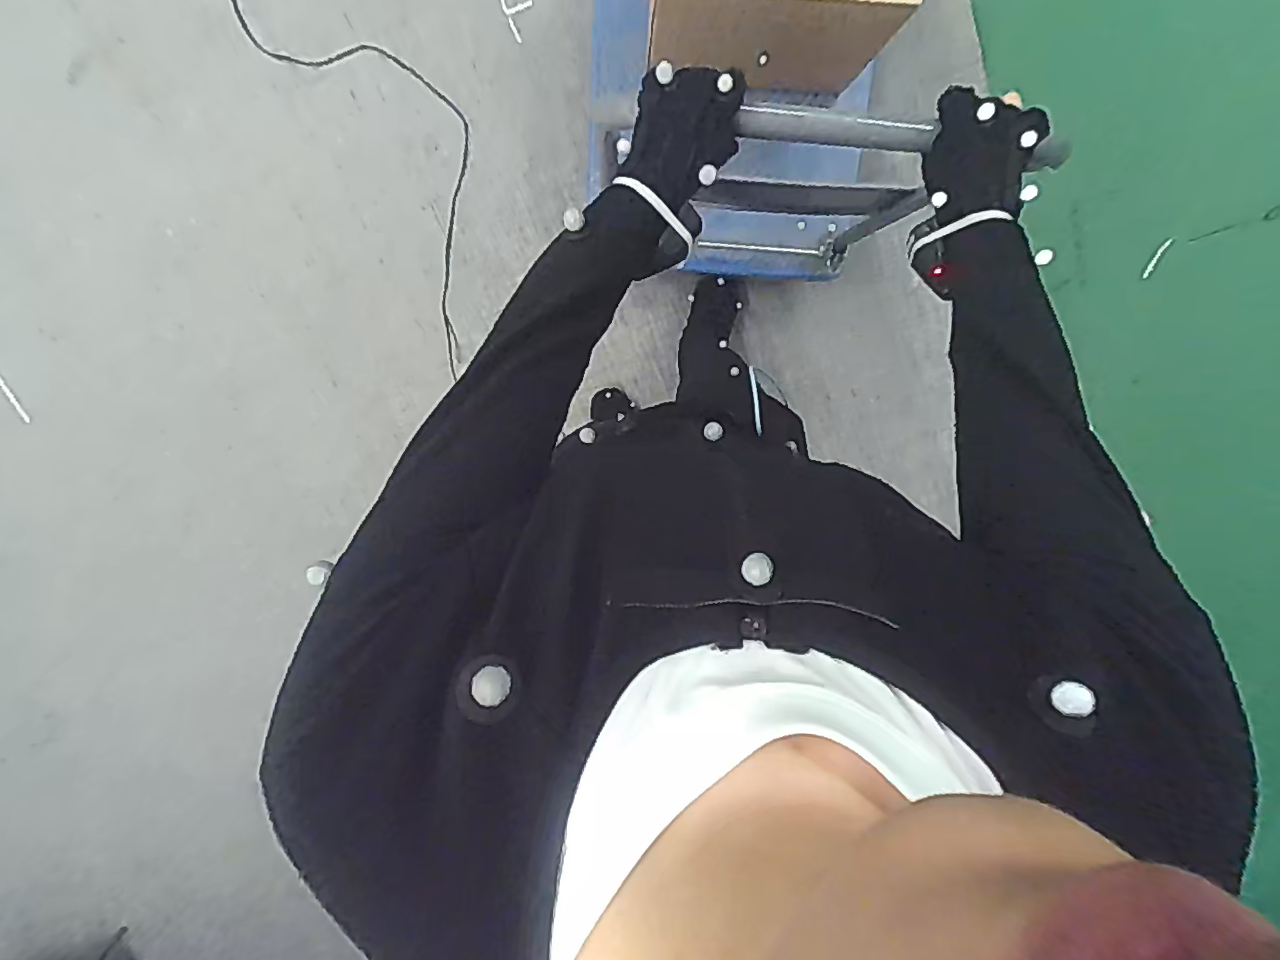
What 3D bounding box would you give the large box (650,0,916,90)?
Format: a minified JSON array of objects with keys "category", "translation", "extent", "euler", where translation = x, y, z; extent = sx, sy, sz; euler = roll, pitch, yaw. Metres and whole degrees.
[{"category":"large box","translation":[0.228,-0.917,0.932],"extent":[0.408,0.320,0.320],"euler":[1,104,-2]}]
